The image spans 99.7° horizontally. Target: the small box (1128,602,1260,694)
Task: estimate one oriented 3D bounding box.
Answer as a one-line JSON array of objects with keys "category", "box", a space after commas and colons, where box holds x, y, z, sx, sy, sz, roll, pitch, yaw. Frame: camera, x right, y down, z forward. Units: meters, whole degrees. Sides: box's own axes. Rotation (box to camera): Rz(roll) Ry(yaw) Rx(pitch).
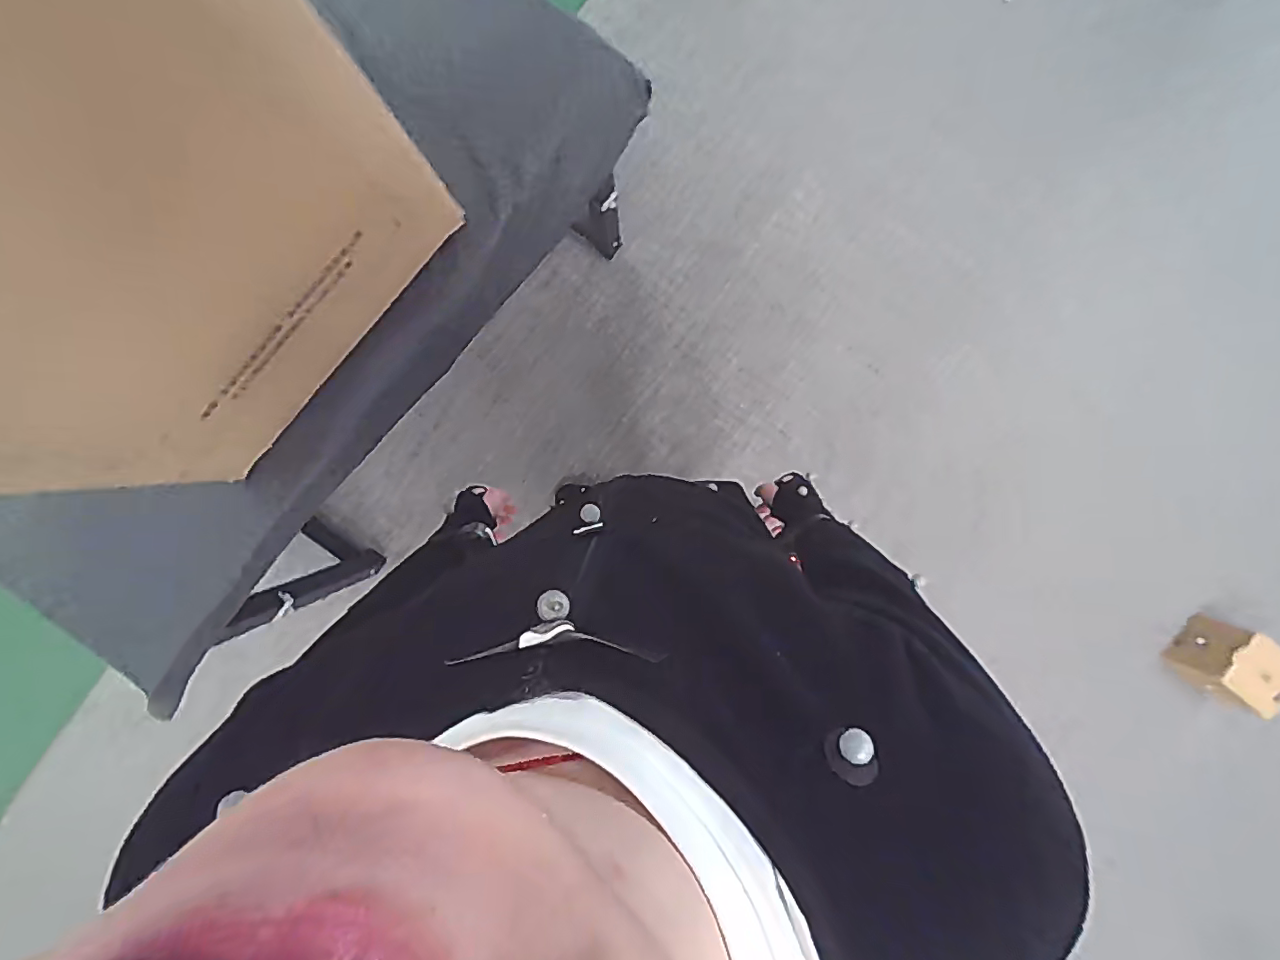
[{"category": "small box", "box": [1.588, 0.474, 1.562, 0.179, 0.176, 0.168, 36, 90, -4]}]
